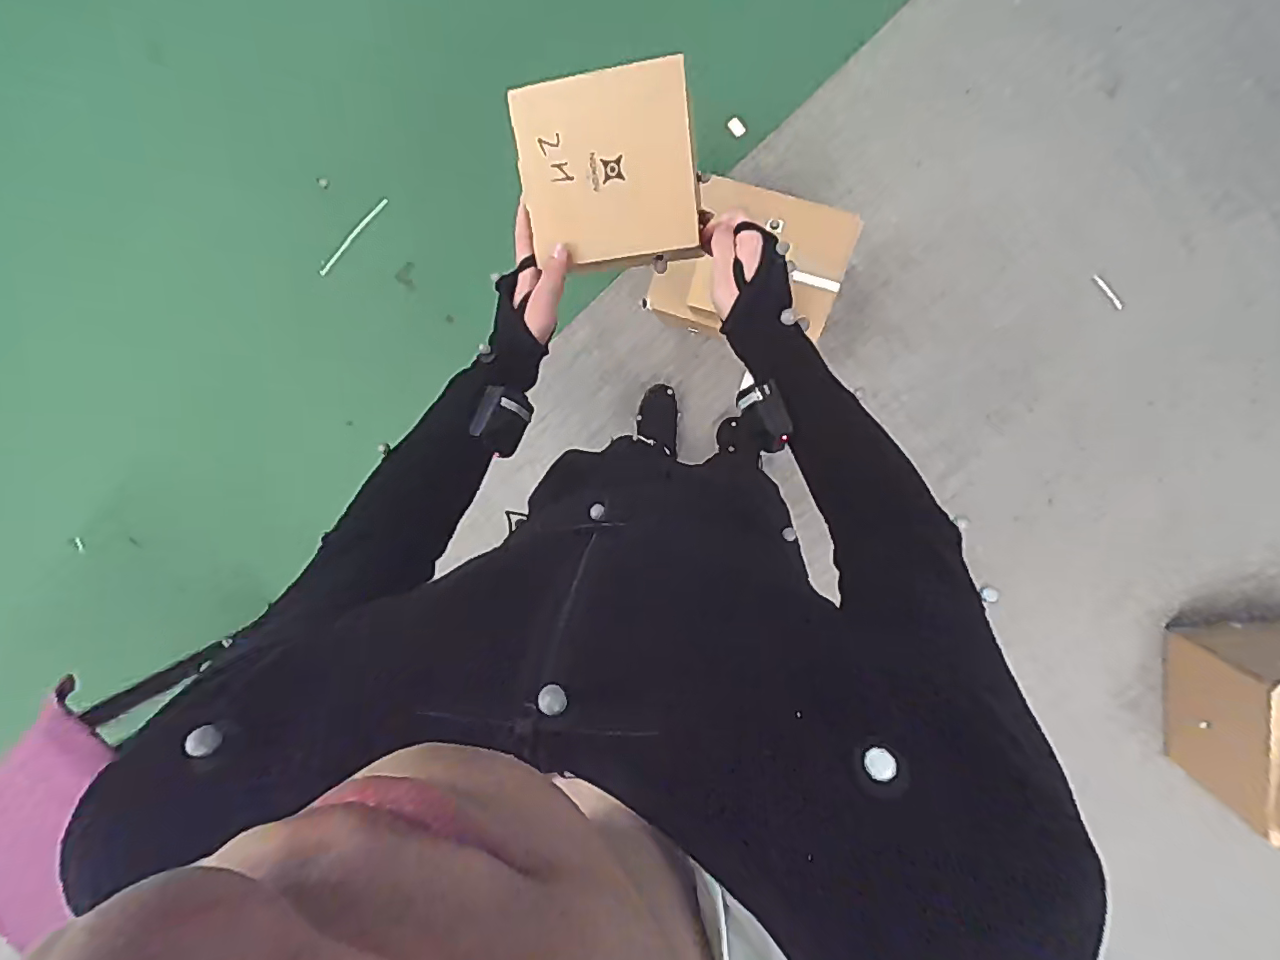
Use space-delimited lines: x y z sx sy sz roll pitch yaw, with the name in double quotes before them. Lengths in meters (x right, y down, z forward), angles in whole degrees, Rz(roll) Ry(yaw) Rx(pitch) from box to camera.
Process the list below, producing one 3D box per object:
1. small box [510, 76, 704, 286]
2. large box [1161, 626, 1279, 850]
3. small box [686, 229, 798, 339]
"small box" -0.022 -0.316 0.608 0.179 0.176 0.168 -5 108 9
"large box" 1.592 0.621 1.342 0.320 0.320 0.408 -8 97 9
"small box" 0.210 -0.399 1.131 0.179 0.176 0.168 19 102 6
